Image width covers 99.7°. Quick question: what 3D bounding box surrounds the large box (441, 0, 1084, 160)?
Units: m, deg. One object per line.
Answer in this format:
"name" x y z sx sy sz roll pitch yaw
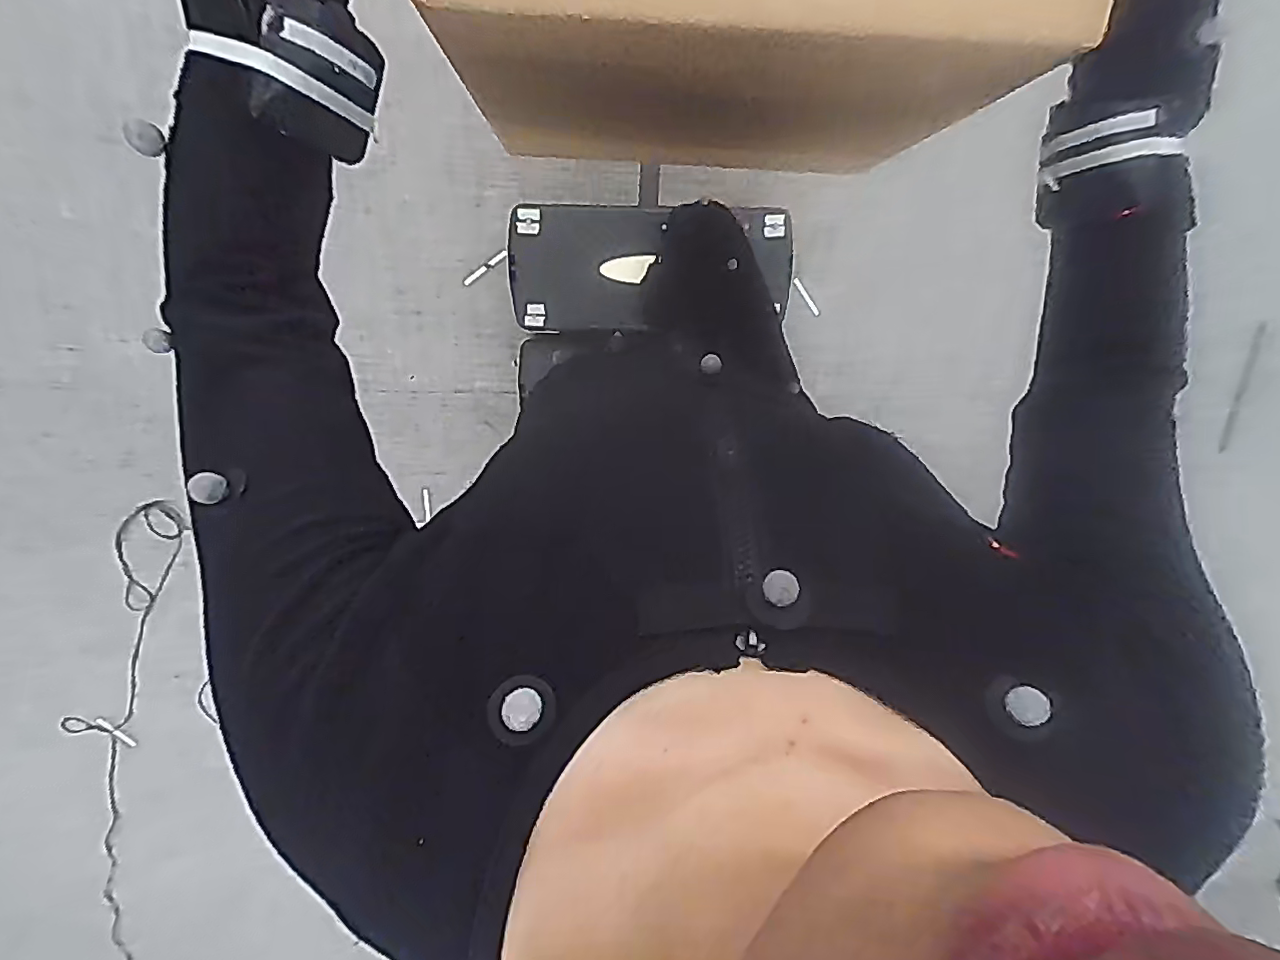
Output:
"large box" 0.066 -0.466 0.422 0.408 0.320 0.320 0 108 -4

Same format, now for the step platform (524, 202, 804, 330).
"step platform" 0.056 -0.525 1.351 0.684 0.204 0.286 -2 107 -5
